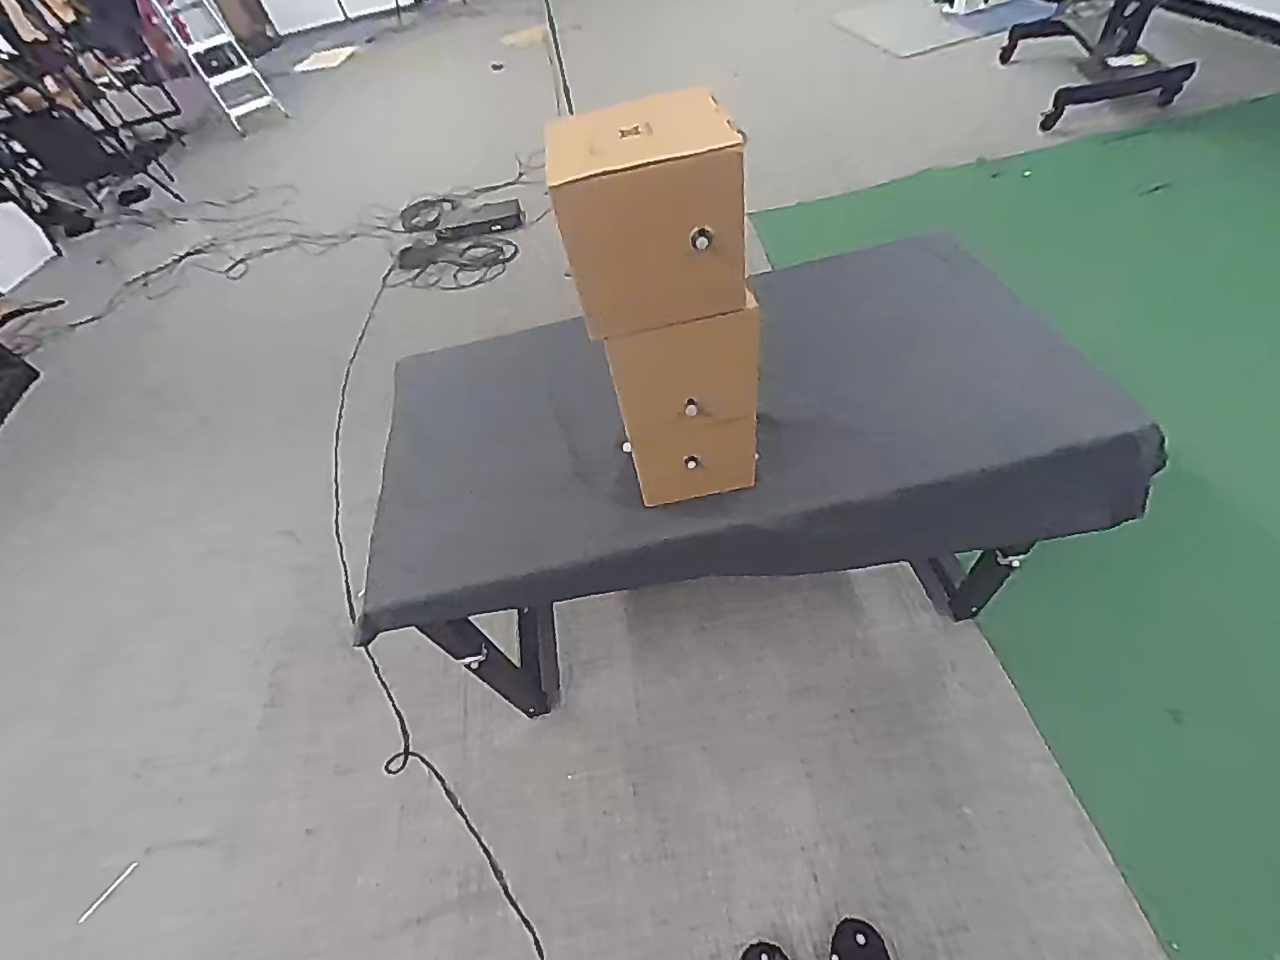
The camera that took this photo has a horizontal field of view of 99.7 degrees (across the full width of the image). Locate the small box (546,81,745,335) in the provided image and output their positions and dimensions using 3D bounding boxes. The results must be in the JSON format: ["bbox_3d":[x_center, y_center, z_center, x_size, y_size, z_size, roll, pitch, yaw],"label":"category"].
[{"bbox_3d":[0.009,-0.283,0.578,0.179,0.176,0.168,-13,51,4],"label":"small box"}]

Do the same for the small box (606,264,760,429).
[{"bbox_3d":[0.049,-0.190,0.706,0.179,0.176,0.168,-11,52,3],"label":"small box"}]

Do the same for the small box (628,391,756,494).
[{"bbox_3d":[0.075,-0.099,0.836,0.179,0.176,0.168,-9,51,4],"label":"small box"}]
